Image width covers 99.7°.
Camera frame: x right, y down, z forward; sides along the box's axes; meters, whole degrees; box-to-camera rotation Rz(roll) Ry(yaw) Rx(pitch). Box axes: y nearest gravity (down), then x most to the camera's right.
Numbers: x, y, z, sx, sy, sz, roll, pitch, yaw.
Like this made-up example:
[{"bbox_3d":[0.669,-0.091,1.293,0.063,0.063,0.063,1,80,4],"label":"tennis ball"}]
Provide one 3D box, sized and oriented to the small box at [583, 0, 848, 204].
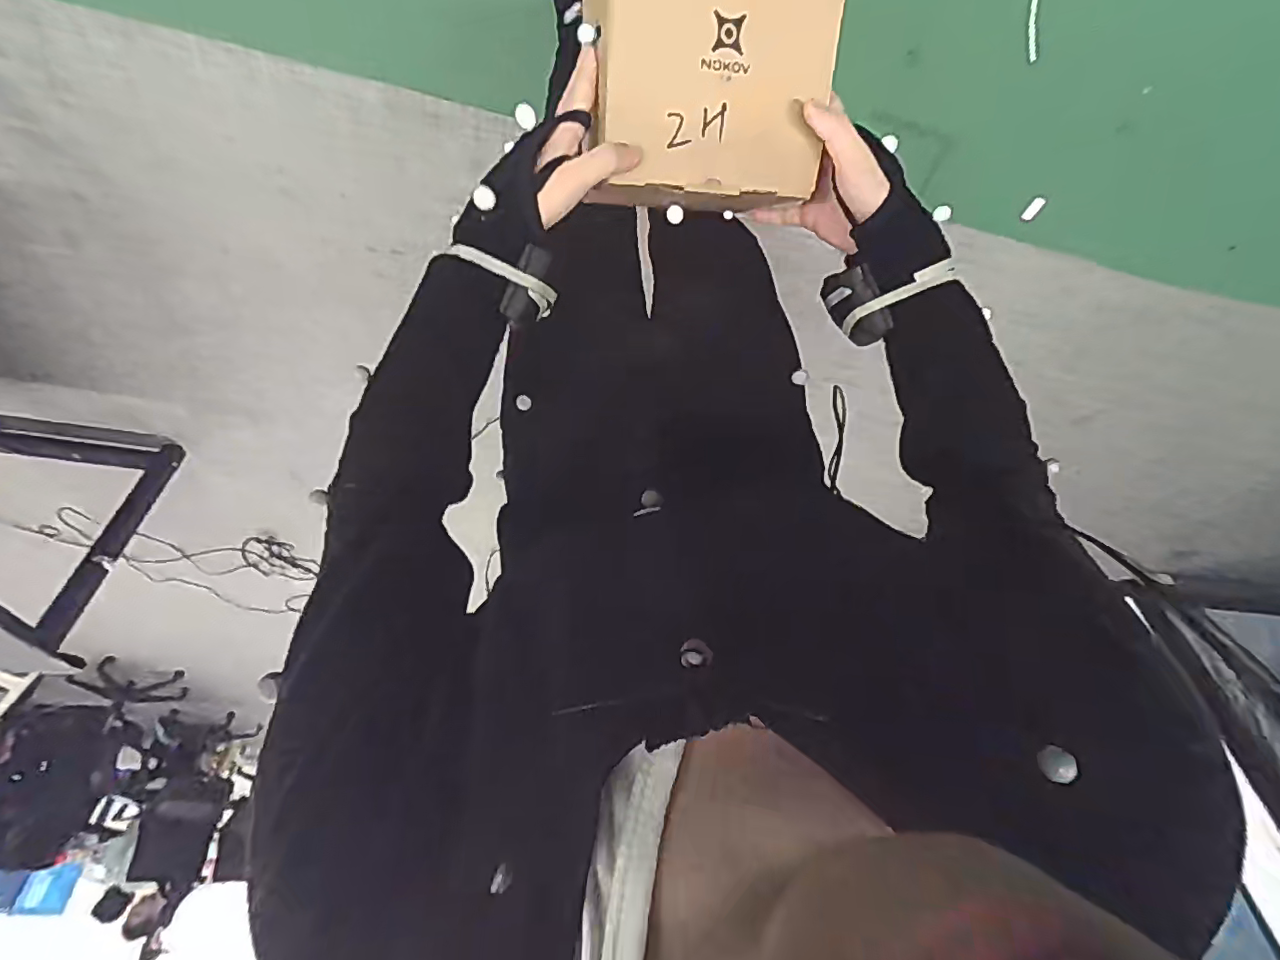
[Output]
[{"bbox_3d":[0.045,-0.334,0.441,0.168,0.176,0.179,-1,114,-12],"label":"small box"}]
